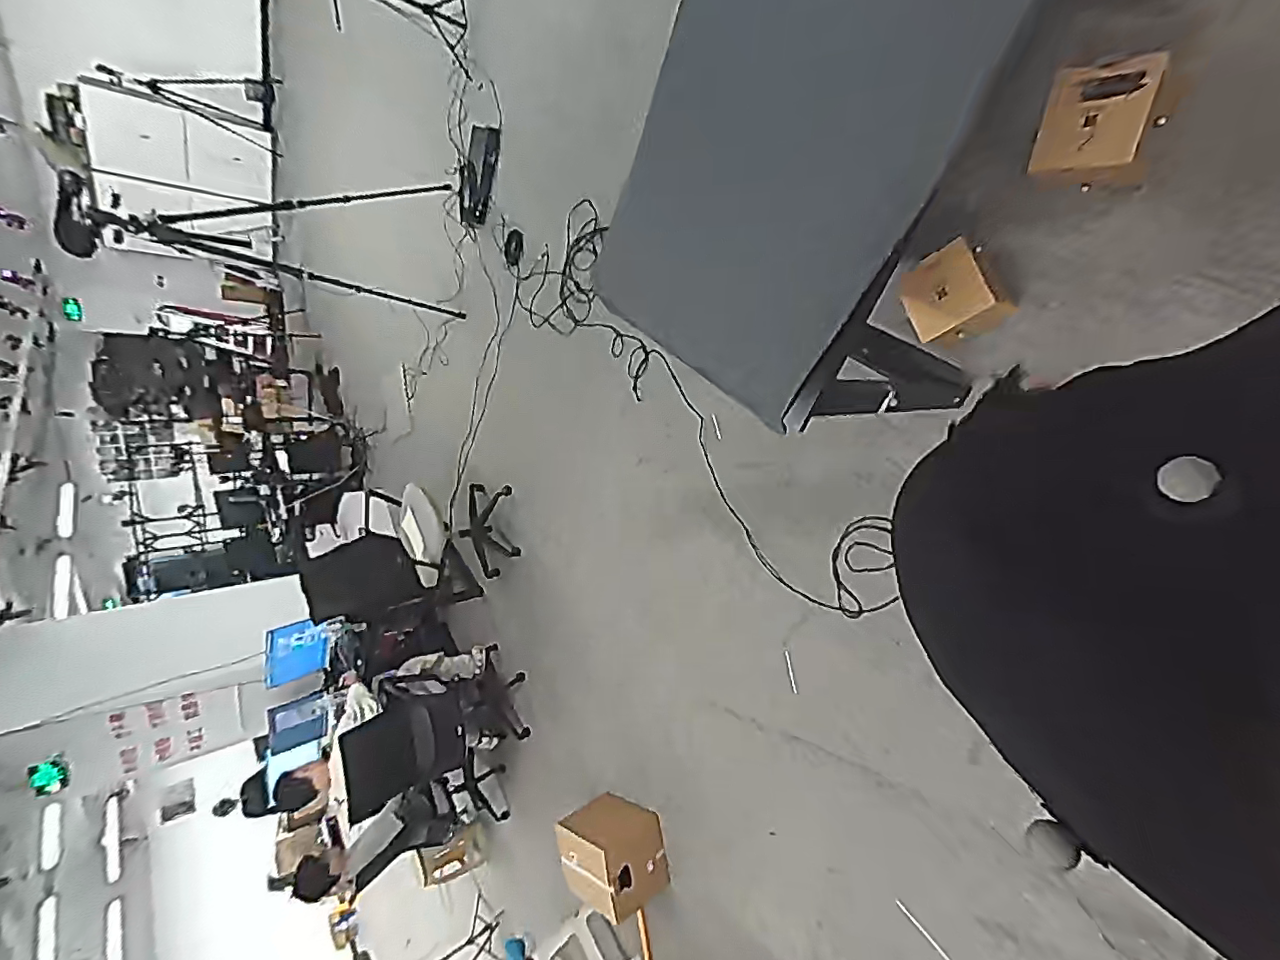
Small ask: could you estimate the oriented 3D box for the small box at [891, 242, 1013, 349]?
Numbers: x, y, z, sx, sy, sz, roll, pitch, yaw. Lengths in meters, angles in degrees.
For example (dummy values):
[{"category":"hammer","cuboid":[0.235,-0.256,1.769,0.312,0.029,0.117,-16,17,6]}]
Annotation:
[{"category":"small box","cuboid":[0.734,-0.424,1.270,0.168,0.176,0.179,-32,71,47]}]
